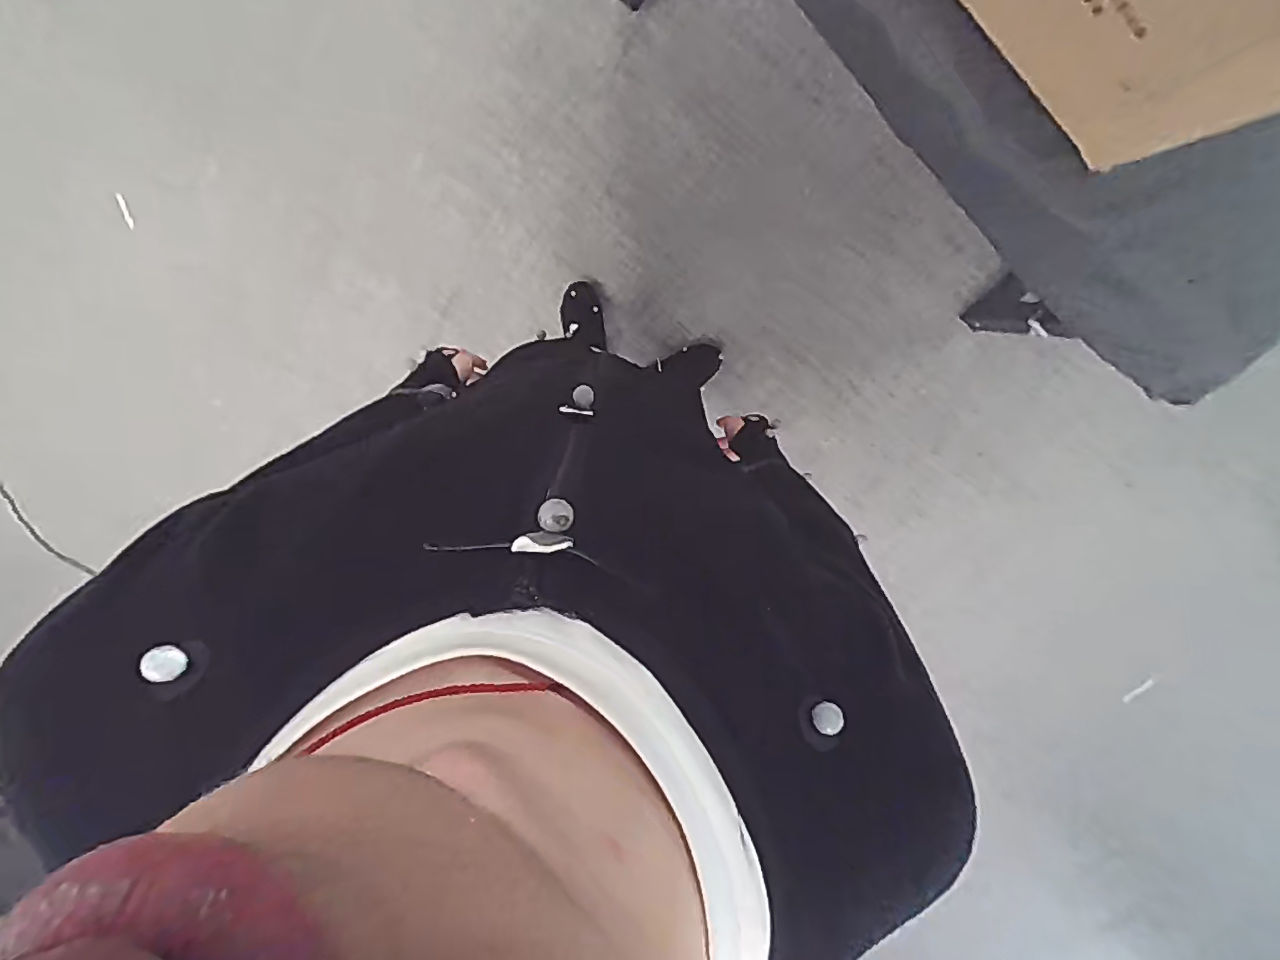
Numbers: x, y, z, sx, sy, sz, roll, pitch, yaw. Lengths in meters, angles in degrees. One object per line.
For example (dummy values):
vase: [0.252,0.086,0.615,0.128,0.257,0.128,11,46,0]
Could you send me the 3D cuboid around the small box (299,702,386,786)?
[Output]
small box: [-1.051,0.935,1.928,0.179,0.176,0.168,42,105,-9]
